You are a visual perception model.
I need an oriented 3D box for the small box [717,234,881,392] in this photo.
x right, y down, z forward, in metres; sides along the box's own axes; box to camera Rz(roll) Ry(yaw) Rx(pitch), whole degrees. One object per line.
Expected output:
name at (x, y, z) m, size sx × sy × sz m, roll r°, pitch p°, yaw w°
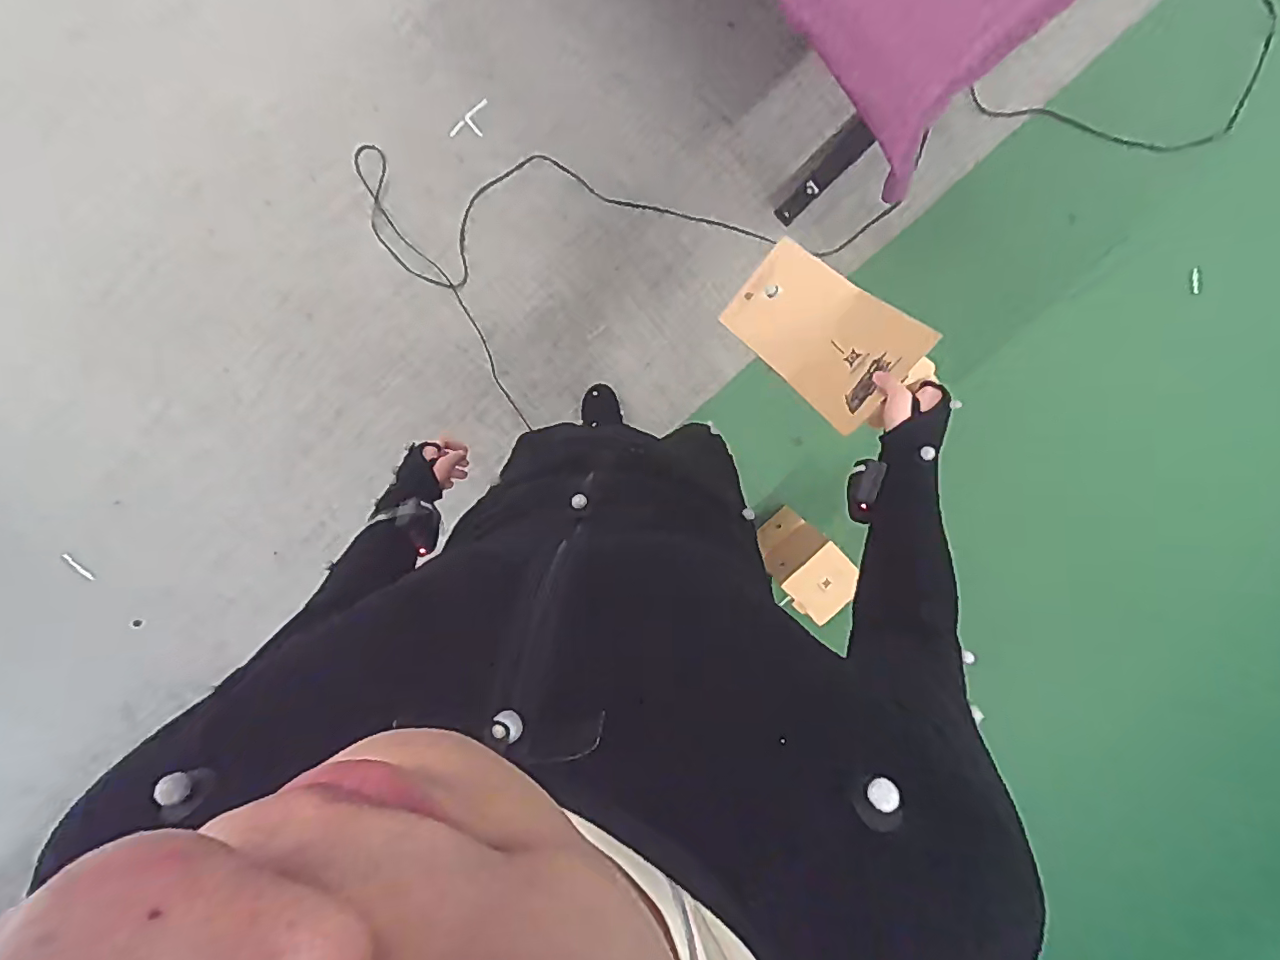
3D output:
small box at (0.263, -0.273, 0.898) m, size 0.176 × 0.179 × 0.168 m, roll 49°, pitch 113°, yaw 25°

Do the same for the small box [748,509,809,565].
small box at (0.449, 0.205, 1.610) m, size 0.168 × 0.176 × 0.179 m, roll -44°, pitch 101°, yaw 6°

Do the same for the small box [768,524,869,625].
small box at (0.467, 0.248, 1.454) m, size 0.179 × 0.176 × 0.168 m, roll -44°, pitch 101°, yaw 5°
